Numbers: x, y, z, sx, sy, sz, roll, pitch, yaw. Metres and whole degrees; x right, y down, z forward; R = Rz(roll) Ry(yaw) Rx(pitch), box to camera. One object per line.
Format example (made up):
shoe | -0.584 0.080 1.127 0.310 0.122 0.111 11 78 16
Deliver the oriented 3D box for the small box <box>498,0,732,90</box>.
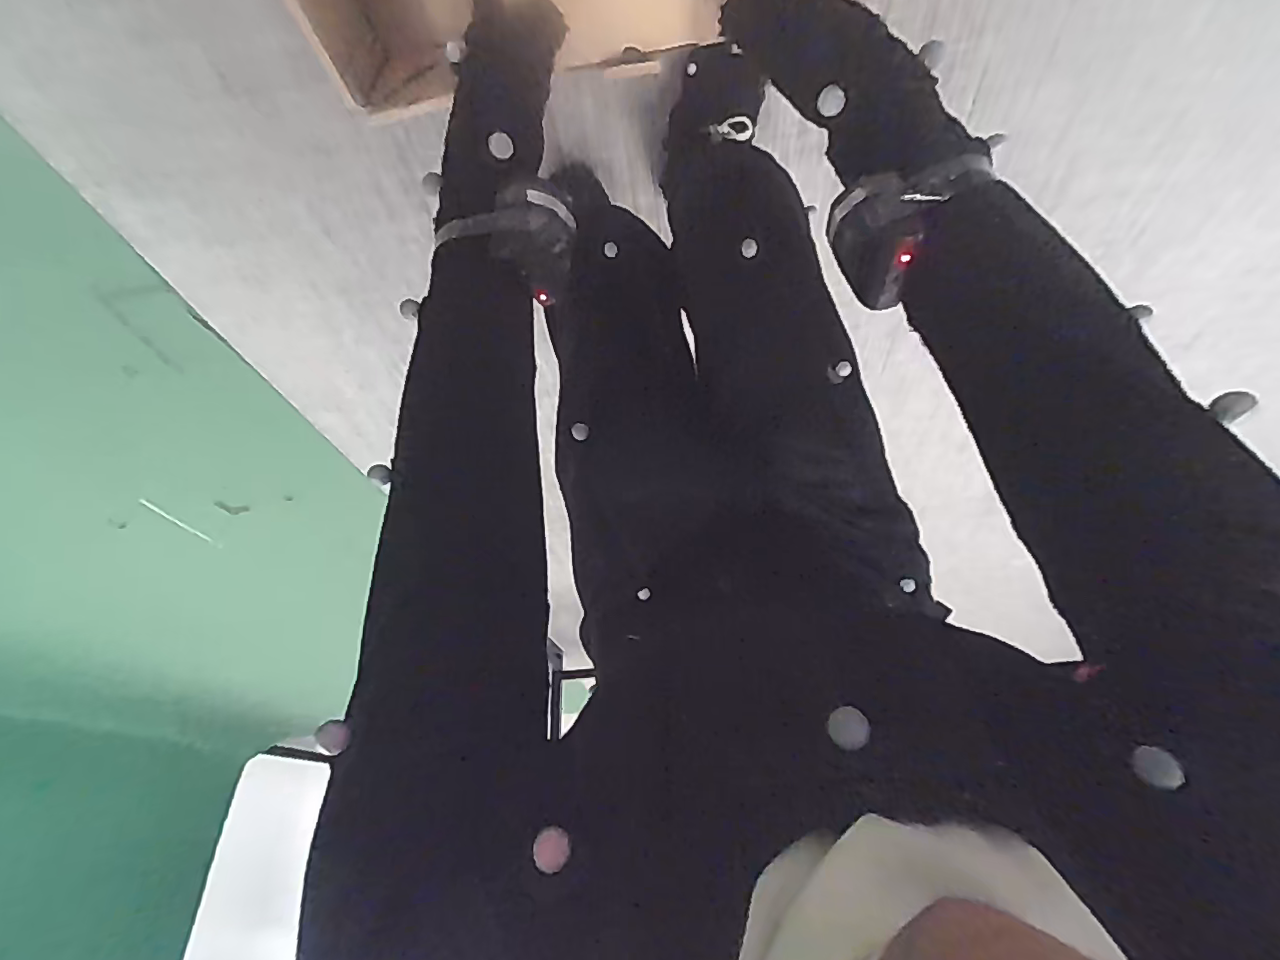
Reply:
small box | -0.027 -0.424 0.383 0.168 0.176 0.179 -8 147 3
